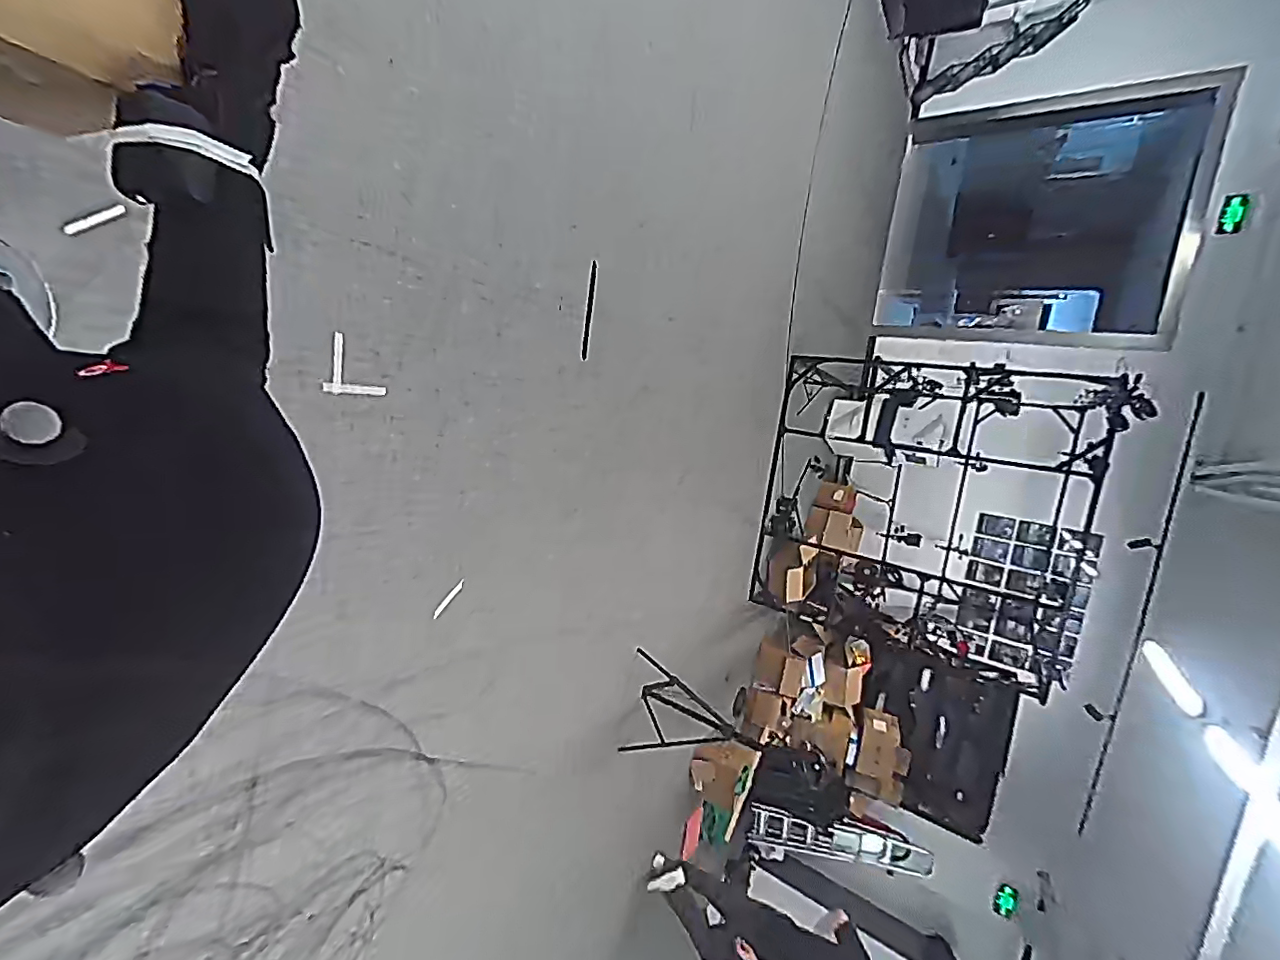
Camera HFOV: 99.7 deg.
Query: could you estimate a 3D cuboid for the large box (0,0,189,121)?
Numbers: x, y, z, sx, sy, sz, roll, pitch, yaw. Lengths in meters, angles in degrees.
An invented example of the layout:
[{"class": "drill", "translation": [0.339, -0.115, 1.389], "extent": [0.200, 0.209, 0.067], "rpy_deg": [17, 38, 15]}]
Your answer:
[{"class": "large box", "translation": [-0.539, -0.467, 0.288], "extent": [0.408, 0.320, 0.320], "rpy_deg": [0, 107, -60]}]
